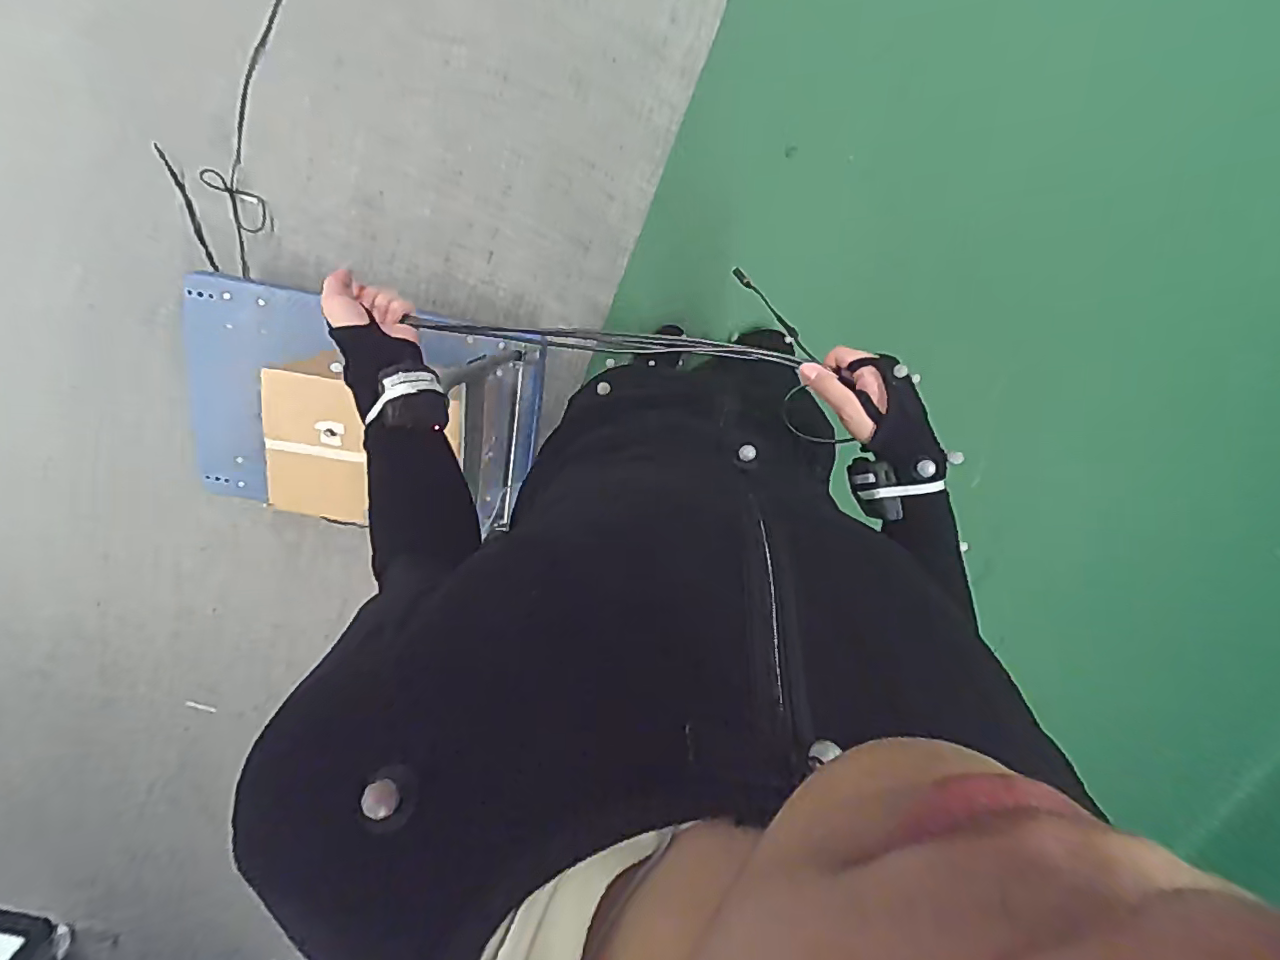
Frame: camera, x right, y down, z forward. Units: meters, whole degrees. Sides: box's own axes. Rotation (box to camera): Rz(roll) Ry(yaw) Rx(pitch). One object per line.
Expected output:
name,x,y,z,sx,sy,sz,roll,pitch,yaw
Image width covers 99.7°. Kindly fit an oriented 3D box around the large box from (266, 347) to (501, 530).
large box,-0.563,-0.110,1.262,0.408,0.320,0.320,9,109,-3
